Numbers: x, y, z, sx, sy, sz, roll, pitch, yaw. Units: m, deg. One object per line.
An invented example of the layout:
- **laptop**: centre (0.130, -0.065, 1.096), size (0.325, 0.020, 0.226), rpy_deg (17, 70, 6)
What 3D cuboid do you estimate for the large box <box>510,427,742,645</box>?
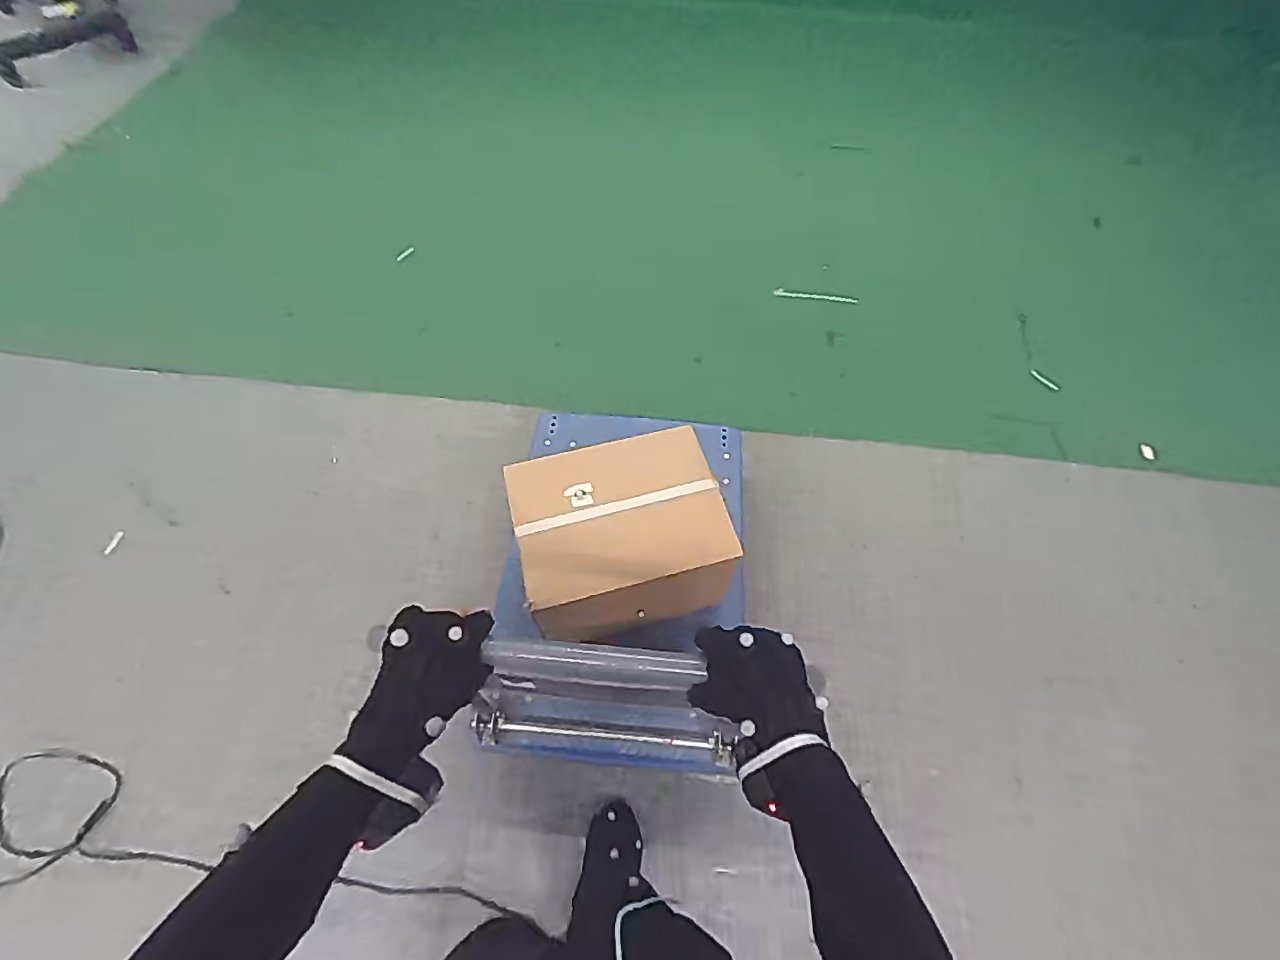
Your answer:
- **large box**: centre (-0.036, 0.132, 1.196), size (0.408, 0.320, 0.320), rpy_deg (-14, 60, -8)
